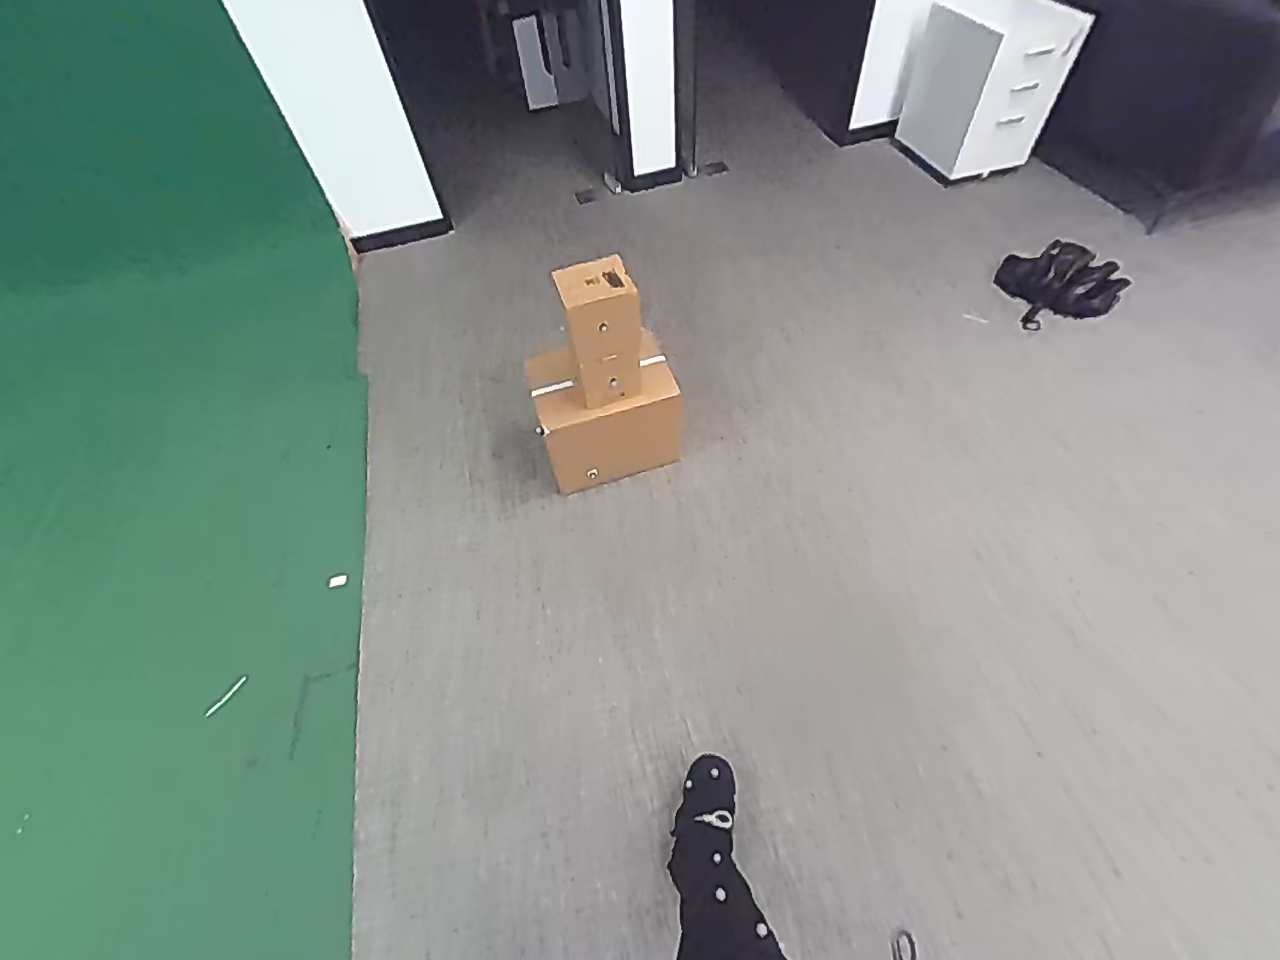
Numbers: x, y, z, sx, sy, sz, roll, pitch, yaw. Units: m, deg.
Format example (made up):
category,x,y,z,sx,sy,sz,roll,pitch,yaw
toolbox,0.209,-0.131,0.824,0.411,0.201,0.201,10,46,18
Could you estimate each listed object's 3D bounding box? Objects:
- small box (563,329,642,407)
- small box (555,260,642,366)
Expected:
category,x,y,z,sx,sy,sz,roll,pitch,yaw
small box,-0.099,-0.323,1.496,0.168,0.176,0.179,-18,55,-8
small box,-0.100,-0.417,1.360,0.179,0.176,0.168,-18,55,-9
